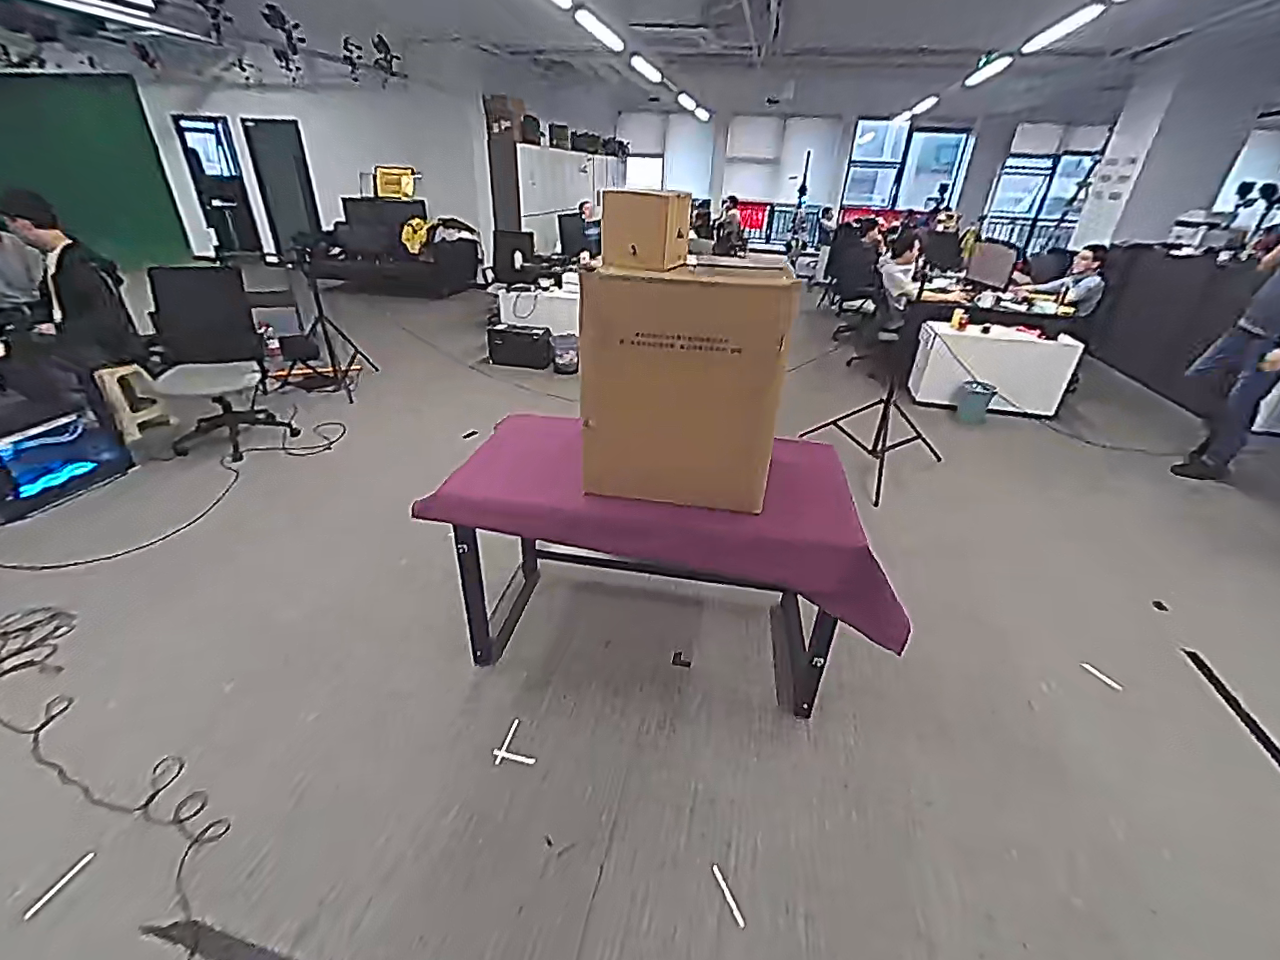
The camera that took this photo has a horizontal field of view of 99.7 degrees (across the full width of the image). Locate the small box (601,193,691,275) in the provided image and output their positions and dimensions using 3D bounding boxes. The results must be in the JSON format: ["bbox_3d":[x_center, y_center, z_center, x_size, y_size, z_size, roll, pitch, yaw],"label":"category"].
[{"bbox_3d":[0.015,-0.623,1.369,0.179,0.176,0.168,16,33,19],"label":"small box"}]
